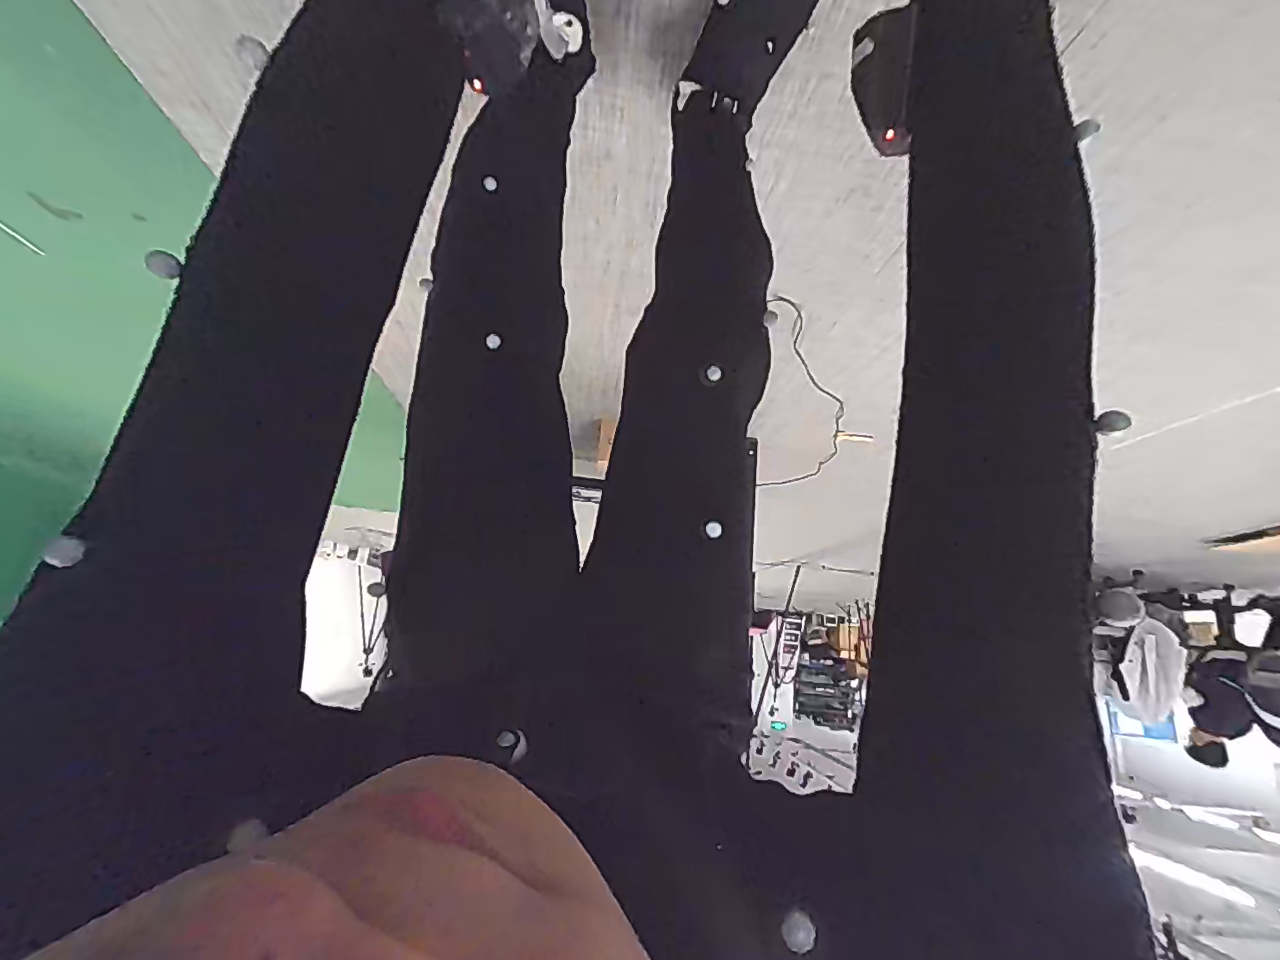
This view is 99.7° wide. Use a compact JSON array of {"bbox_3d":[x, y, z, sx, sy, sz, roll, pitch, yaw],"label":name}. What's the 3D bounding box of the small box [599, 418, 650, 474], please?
[{"bbox_3d":[-0.063,-0.134,2.106,0.179,0.176,0.168,7,165,-4],"label":"small box"}]
